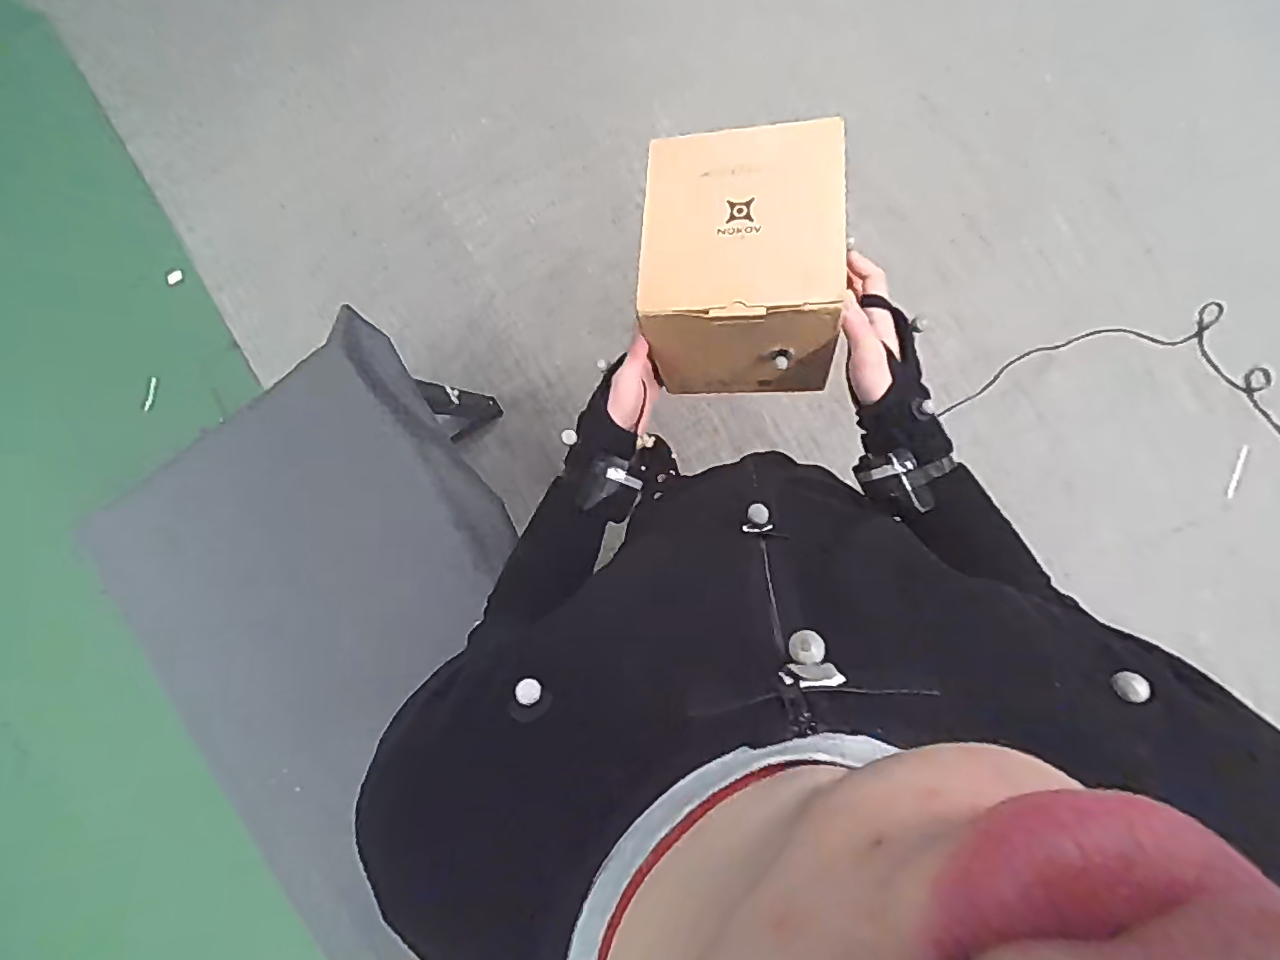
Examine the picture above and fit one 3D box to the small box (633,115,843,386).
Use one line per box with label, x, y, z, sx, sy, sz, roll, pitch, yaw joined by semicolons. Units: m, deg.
small box;0.096;-0.199;0.517;0.168;0.176;0.179;2;76;11
